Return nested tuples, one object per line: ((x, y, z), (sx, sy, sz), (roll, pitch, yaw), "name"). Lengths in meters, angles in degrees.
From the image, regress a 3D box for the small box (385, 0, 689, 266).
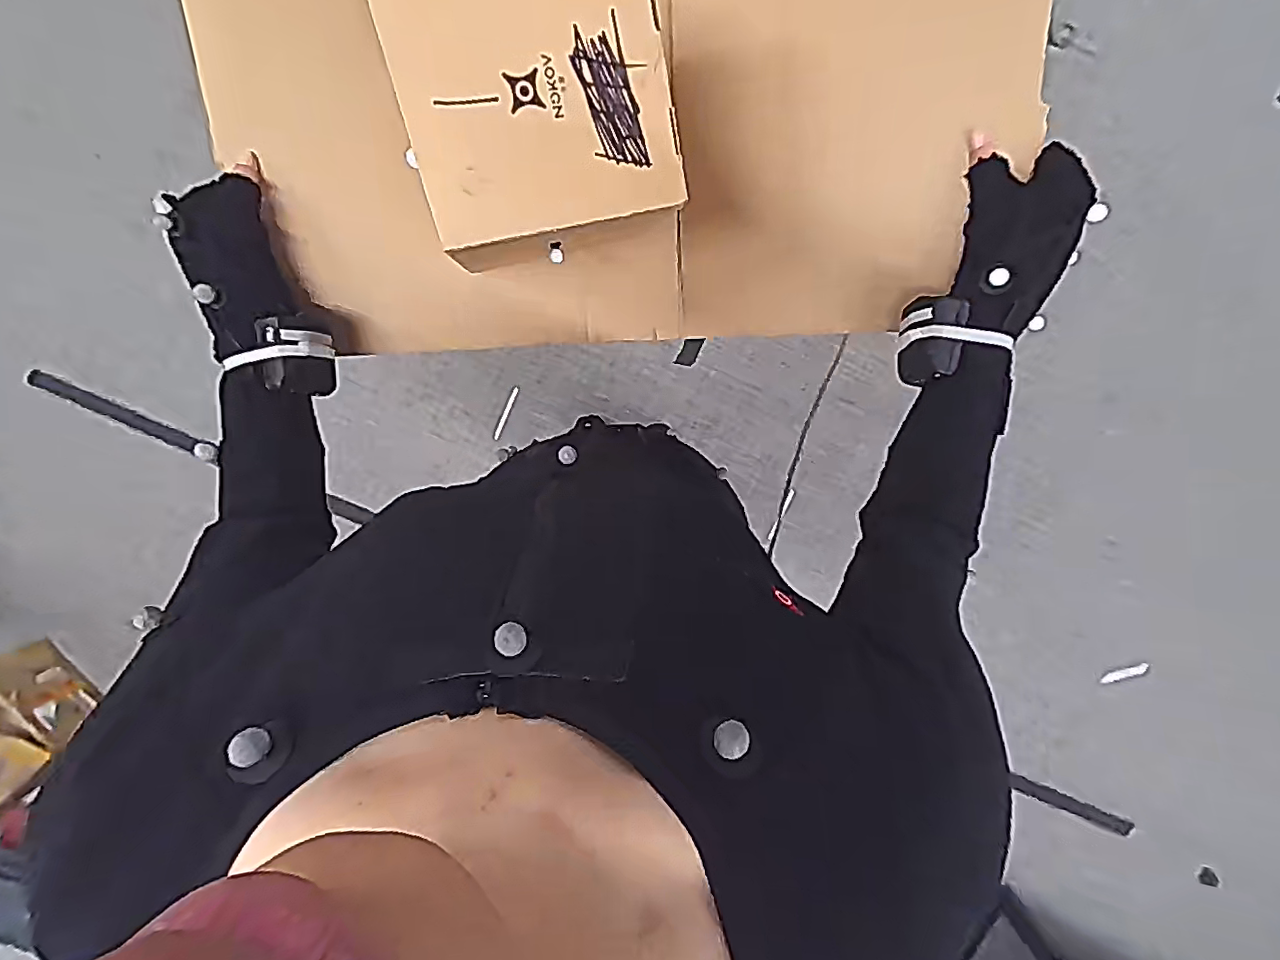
((-0.076, -0.277, 0.434), (0.179, 0.176, 0.168), (-14, 108, -7), "small box")
